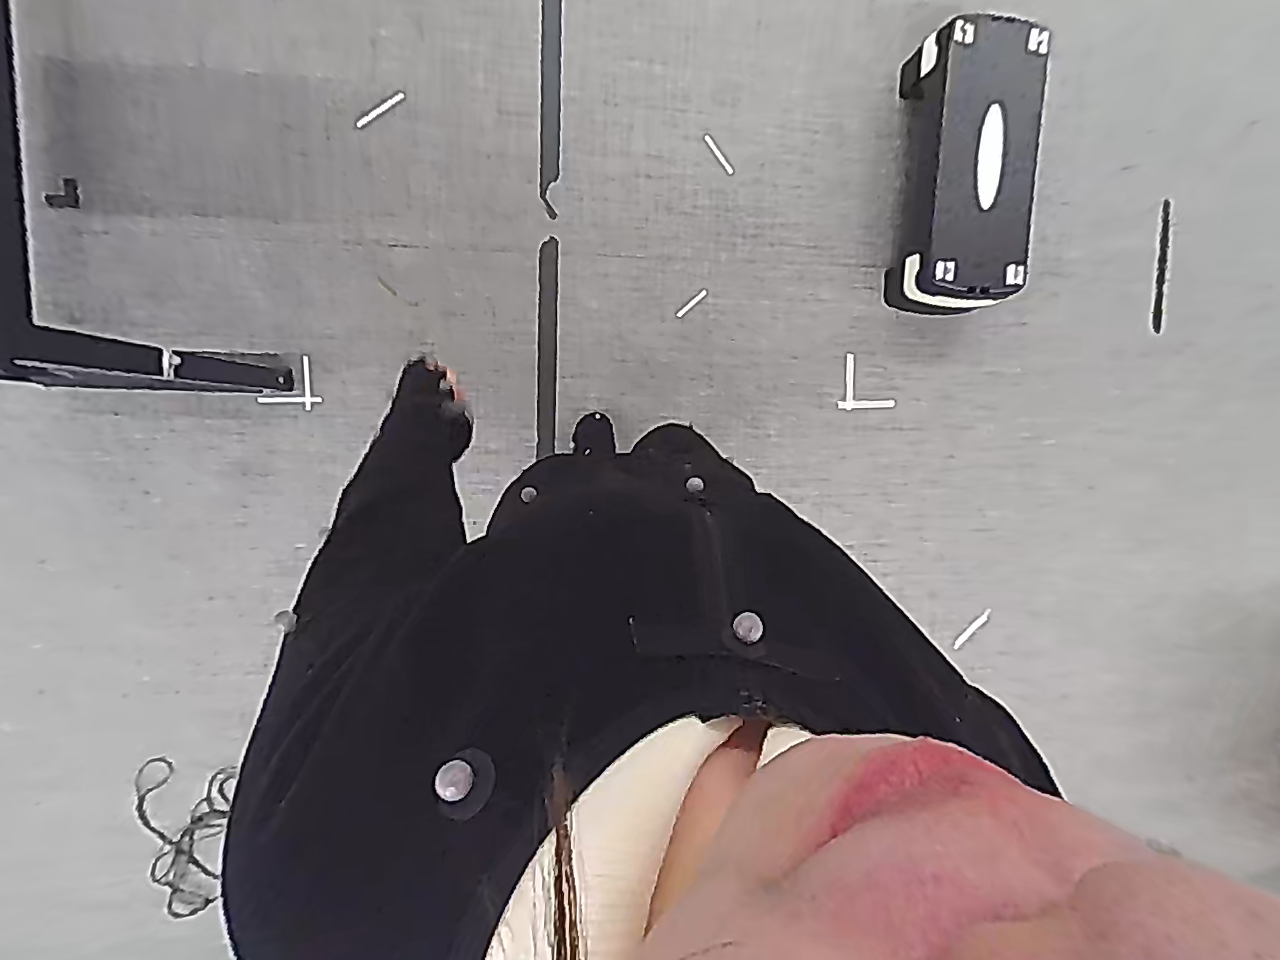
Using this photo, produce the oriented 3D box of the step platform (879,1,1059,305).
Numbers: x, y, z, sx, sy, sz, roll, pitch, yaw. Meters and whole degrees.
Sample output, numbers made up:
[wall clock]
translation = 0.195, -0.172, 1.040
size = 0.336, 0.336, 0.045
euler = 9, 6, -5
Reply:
[step platform]
translation = 0.857, -0.834, 1.423
size = 0.286, 0.204, 0.684
euler = 6, 94, -7
